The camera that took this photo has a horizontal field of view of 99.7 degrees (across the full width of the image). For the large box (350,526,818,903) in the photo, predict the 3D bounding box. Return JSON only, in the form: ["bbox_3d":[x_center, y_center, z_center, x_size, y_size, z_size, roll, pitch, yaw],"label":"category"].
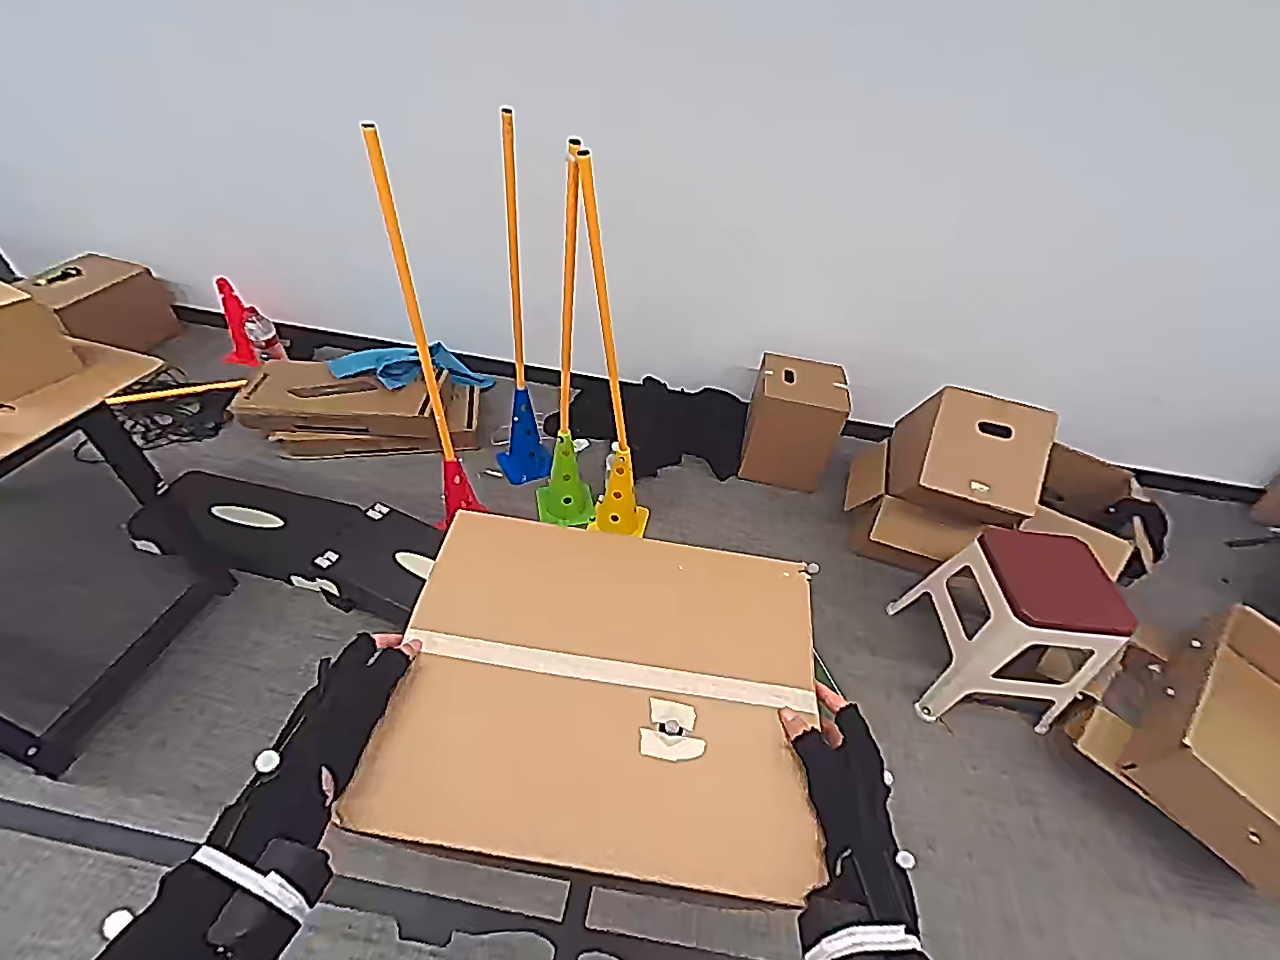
[{"bbox_3d":[-0.044,0.290,0.655,0.408,0.320,0.320,9,52,1],"label":"large box"}]
